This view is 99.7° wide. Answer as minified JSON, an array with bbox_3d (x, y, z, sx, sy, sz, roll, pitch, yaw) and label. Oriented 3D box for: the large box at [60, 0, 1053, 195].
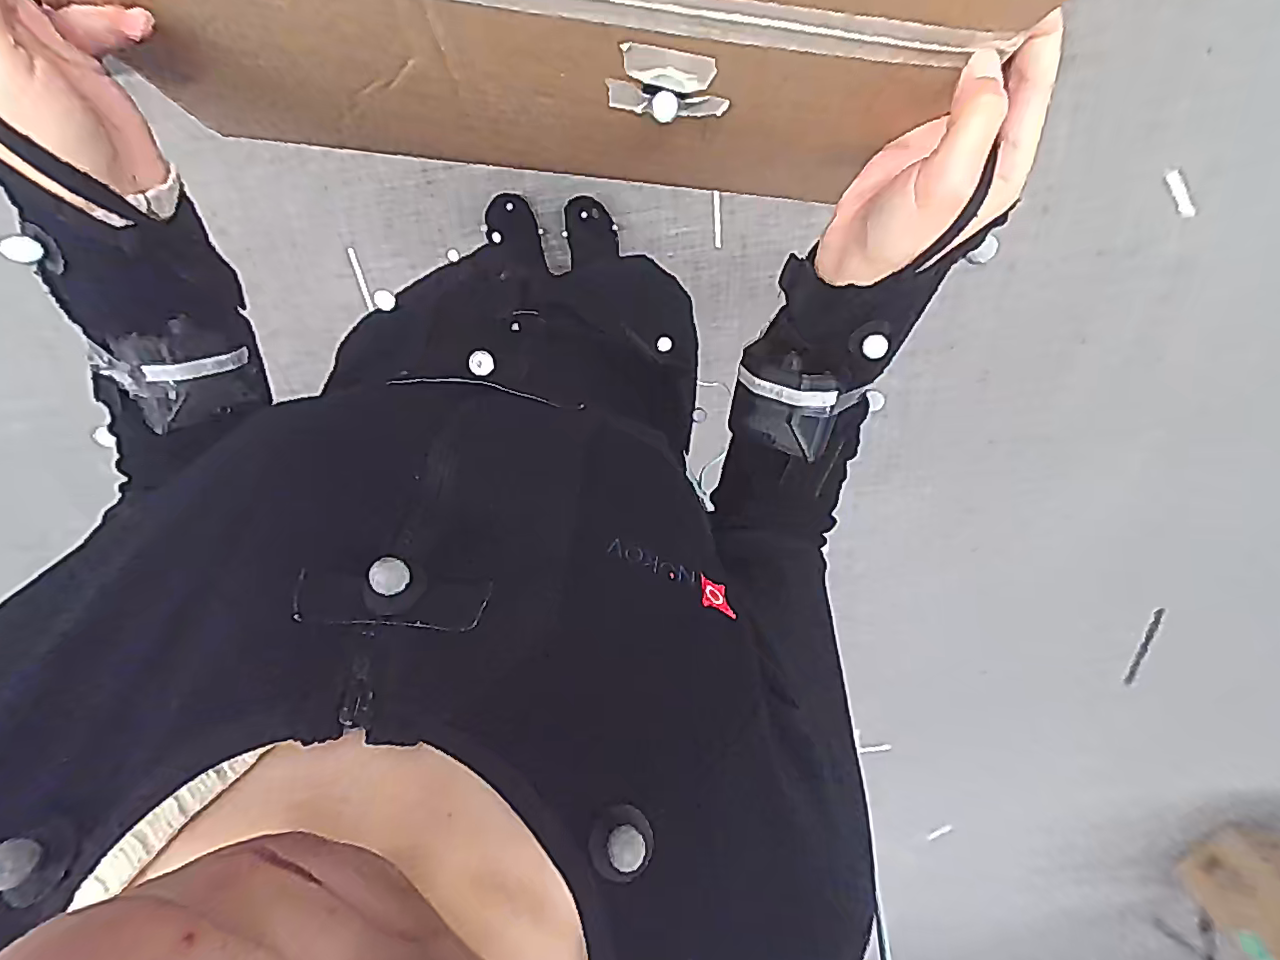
[{"bbox_3d":[-0.039,-0.342,0.193,0.408,0.320,0.320,3,96,-5],"label":"large box"}]
